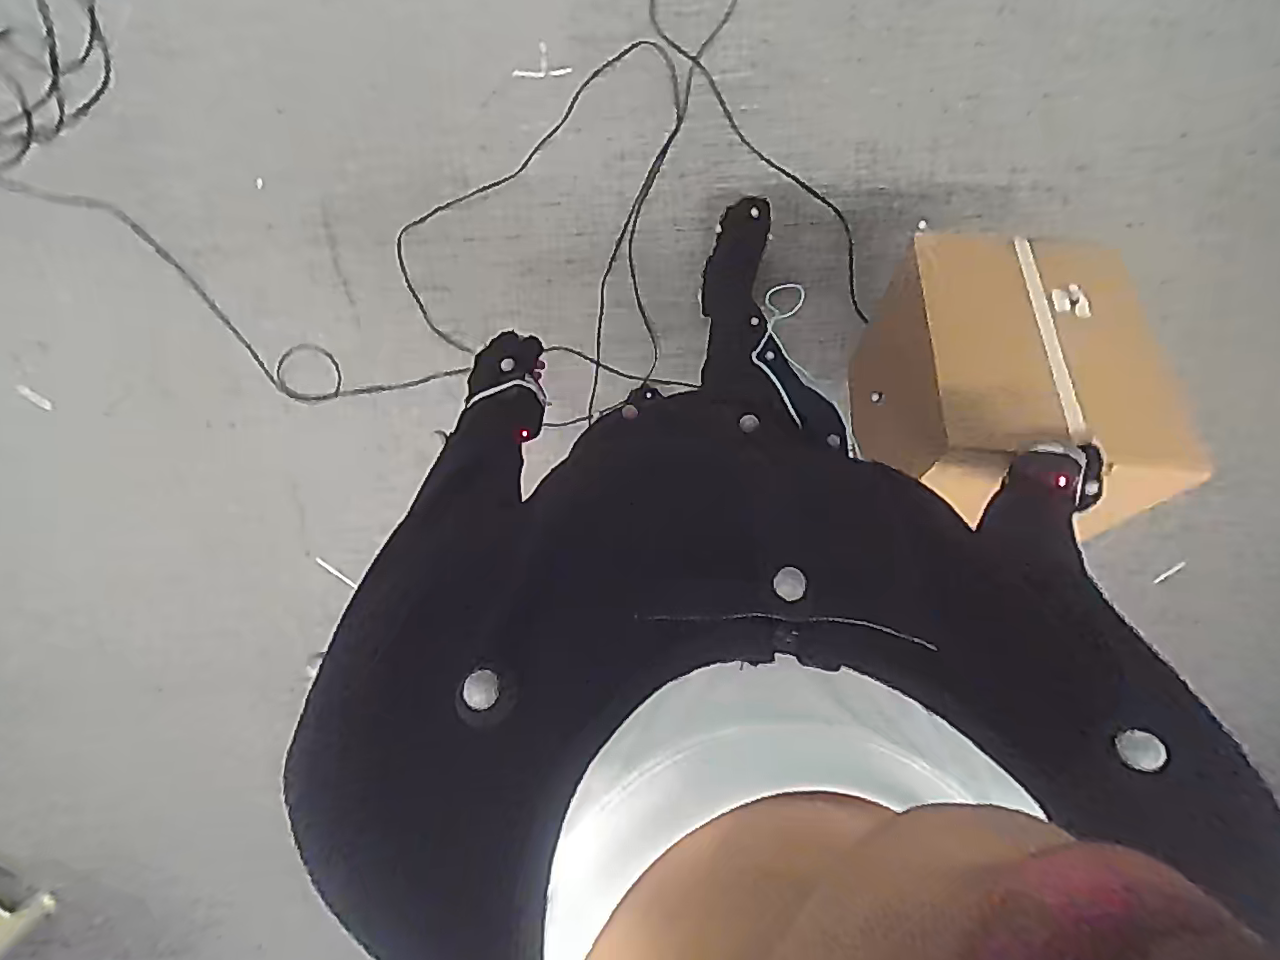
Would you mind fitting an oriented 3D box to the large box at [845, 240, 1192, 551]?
[{"bbox_3d":[0.554,-0.129,0.899,0.320,0.408,0.320,6,151,3],"label":"large box"}]
